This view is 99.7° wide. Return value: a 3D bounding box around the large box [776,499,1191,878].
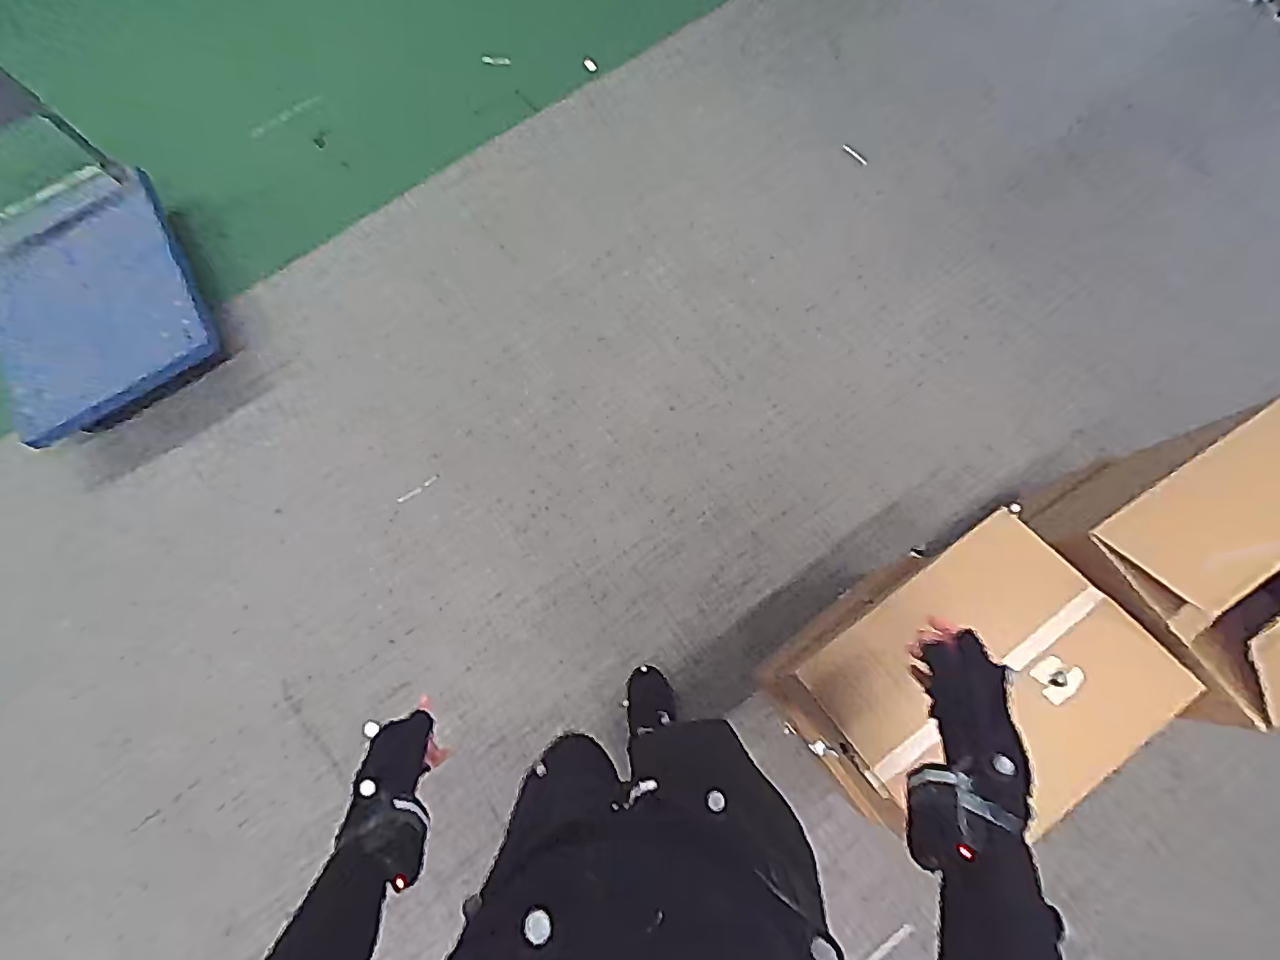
[{"bbox_3d":[0.477,0.307,0.854,0.408,0.320,0.320,-35,68,-7],"label":"large box"}]
